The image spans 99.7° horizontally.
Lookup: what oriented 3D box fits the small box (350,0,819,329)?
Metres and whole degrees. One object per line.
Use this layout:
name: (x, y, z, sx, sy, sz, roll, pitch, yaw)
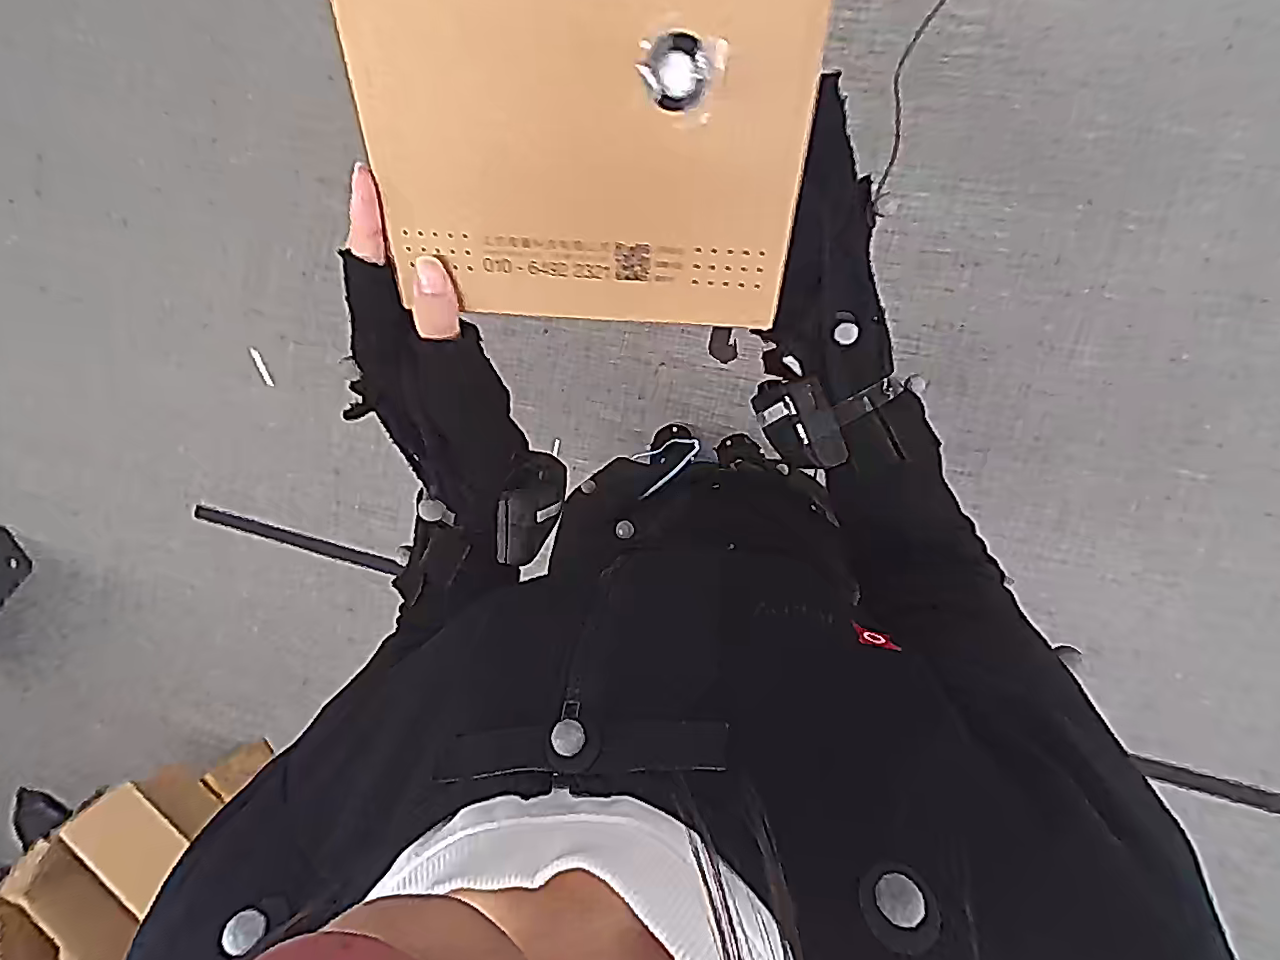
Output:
small box: (-0.010, -0.186, 0.260, 0.168, 0.179, 0.176, 7, 129, 6)
